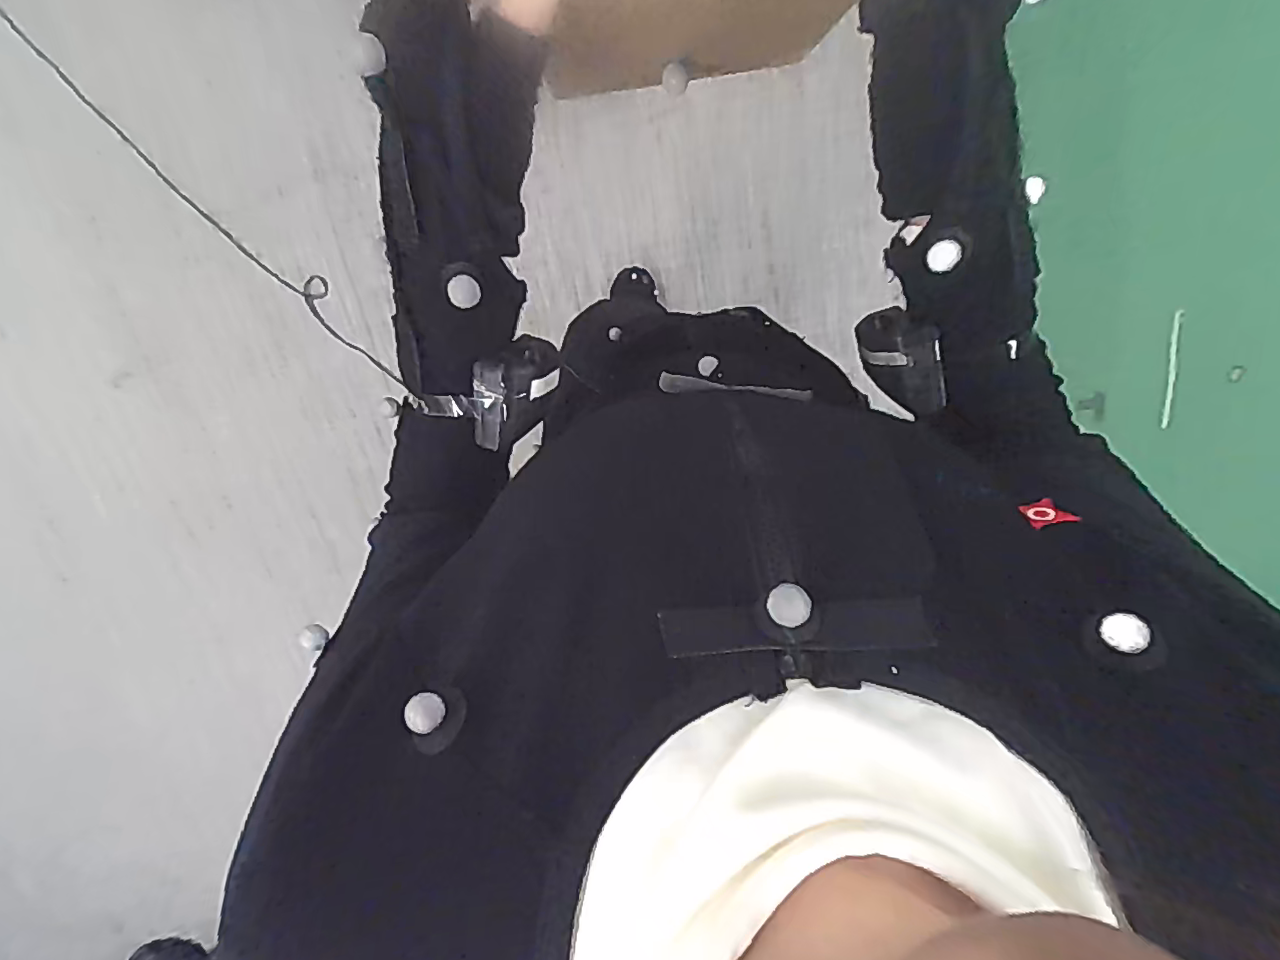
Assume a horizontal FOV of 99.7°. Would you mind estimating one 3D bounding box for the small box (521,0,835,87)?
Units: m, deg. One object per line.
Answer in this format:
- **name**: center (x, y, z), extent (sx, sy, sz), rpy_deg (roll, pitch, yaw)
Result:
- **small box**: center (0.012, -0.314, 0.244), extent (0.168, 0.176, 0.179), rpy_deg (-7, 113, 1)
